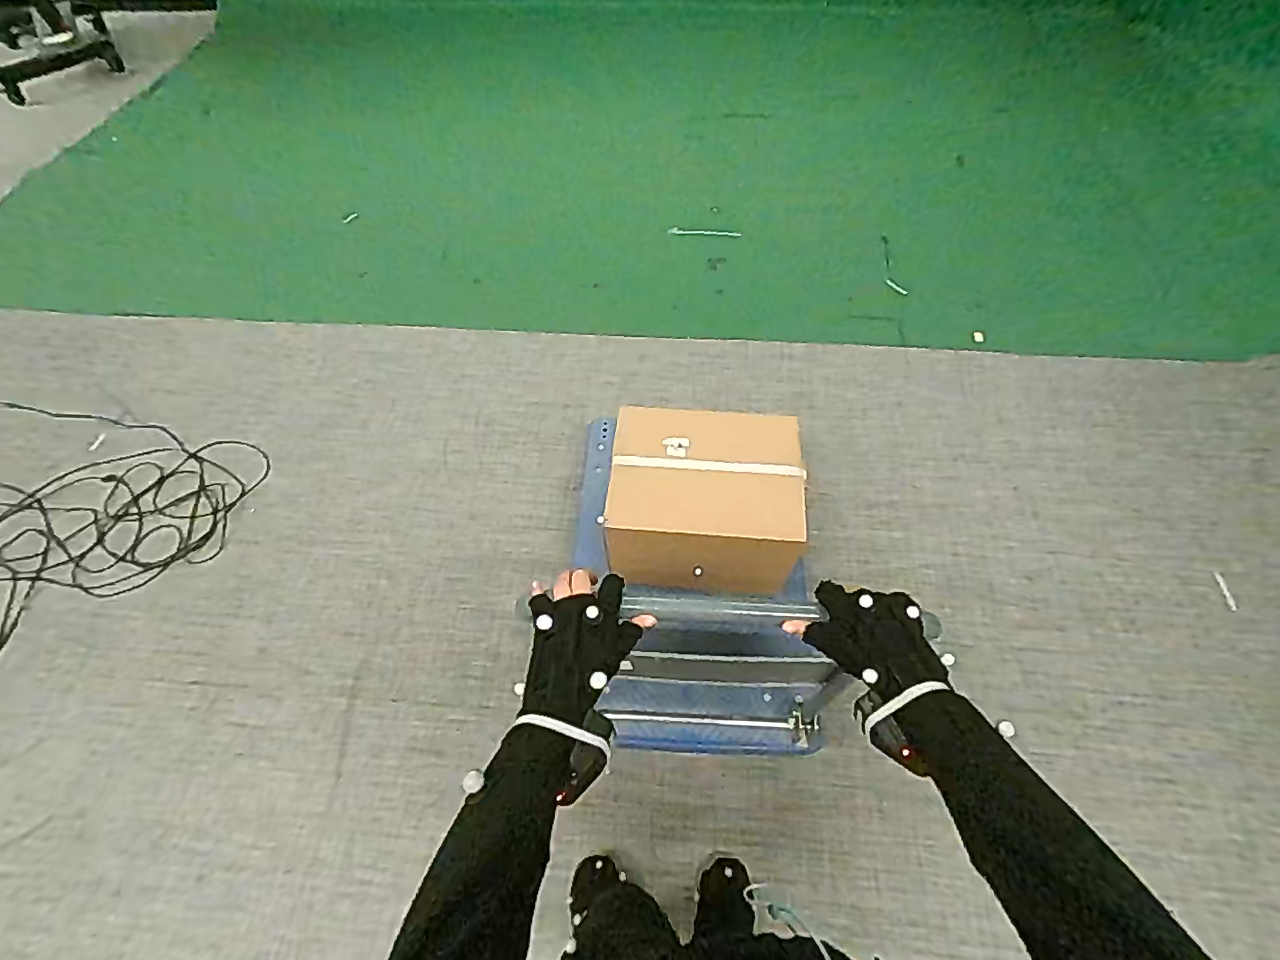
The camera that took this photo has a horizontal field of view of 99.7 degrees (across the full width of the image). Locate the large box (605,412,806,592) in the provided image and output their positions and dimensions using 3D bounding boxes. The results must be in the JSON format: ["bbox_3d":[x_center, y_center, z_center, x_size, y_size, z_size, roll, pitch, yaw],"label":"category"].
[{"bbox_3d":[0.146,0.061,1.270,0.408,0.320,0.320,4,58,5],"label":"large box"}]
